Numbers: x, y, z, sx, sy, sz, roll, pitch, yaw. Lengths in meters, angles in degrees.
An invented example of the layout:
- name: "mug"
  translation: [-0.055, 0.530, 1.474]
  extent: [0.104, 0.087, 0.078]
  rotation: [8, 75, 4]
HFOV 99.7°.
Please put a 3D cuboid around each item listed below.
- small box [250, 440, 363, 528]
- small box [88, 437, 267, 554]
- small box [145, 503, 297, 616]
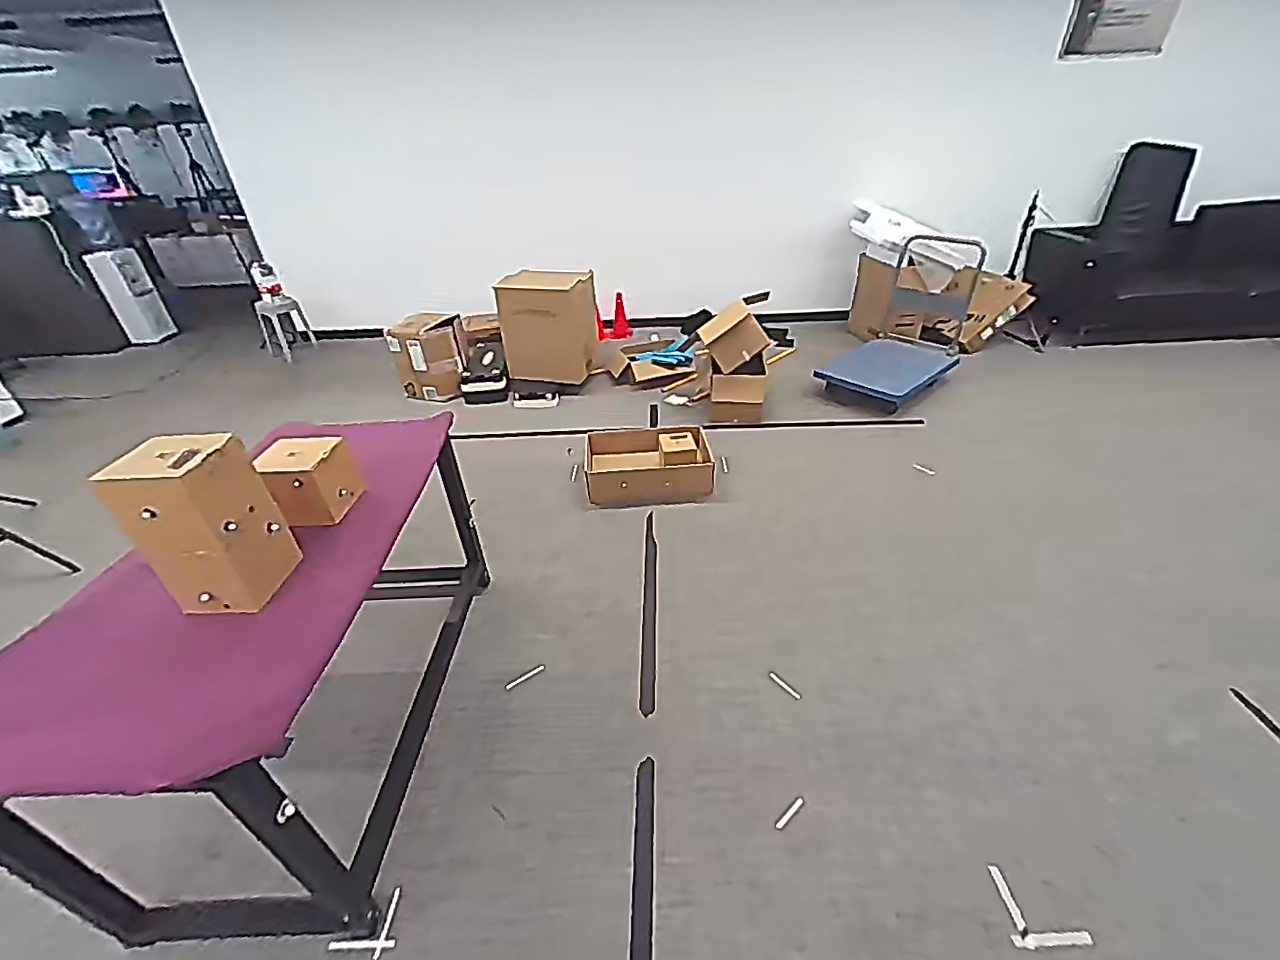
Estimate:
- name: "small box"
  translation: [-0.854, 0.012, 1.389]
  extent: [0.179, 0.176, 0.168]
  rotation: [-2, 34, 3]
- name: "small box"
  translation: [-0.889, 0.030, 1.065]
  extent: [0.179, 0.176, 0.168]
  rotation: [-3, 33, 2]
- name: "small box"
  translation: [-0.873, 0.167, 1.154]
  extent: [0.168, 0.176, 0.179]
  rotation: [-2, 33, 3]
